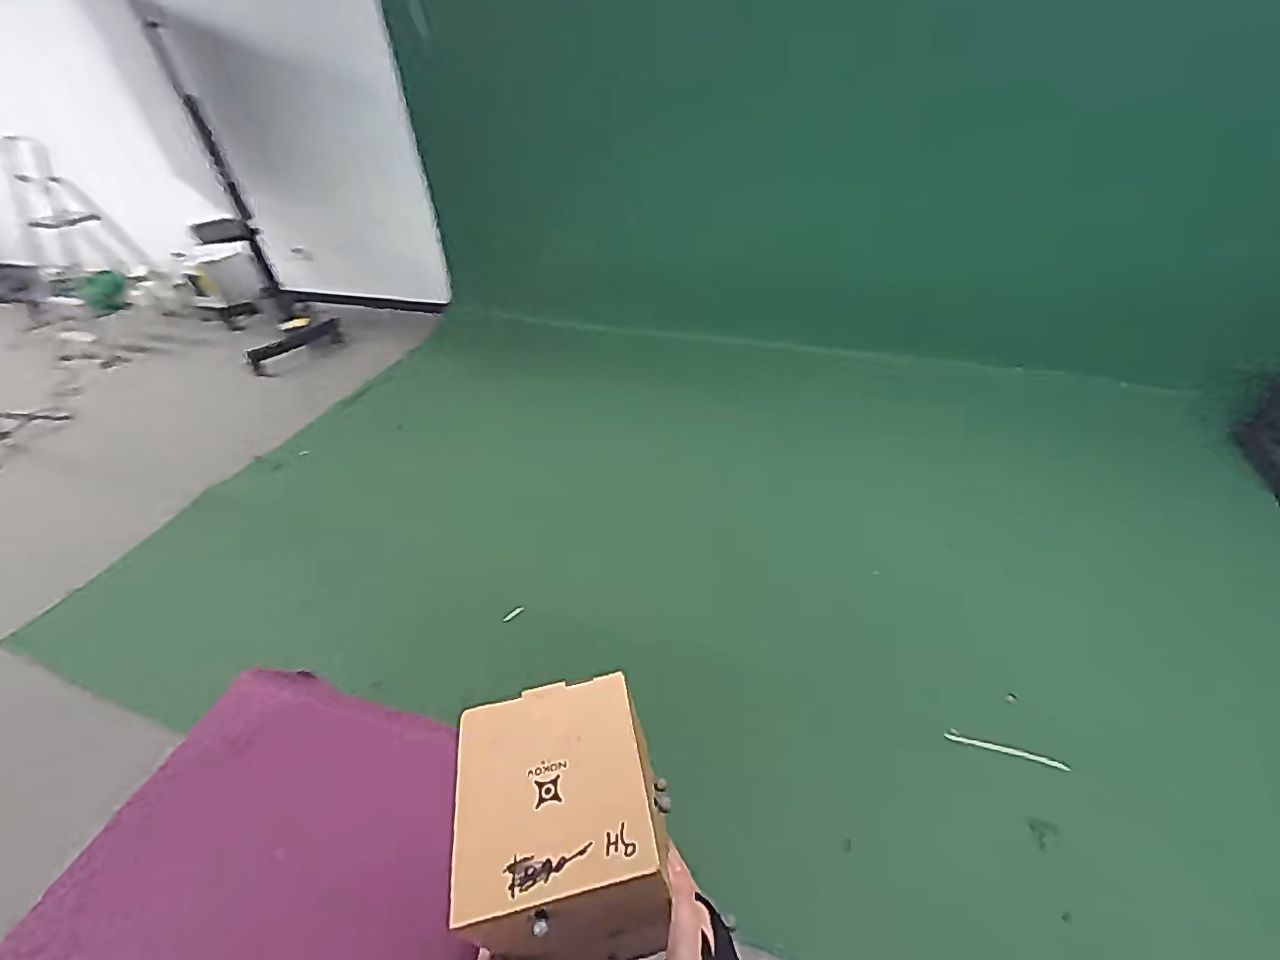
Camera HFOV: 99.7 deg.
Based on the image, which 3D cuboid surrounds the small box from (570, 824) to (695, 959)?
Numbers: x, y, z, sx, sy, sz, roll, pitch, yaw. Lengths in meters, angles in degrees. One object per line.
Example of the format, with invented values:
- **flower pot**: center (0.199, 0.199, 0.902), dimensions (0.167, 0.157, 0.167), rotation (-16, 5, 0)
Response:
- **small box**: center (-0.038, 0.446, 0.634), dimensions (0.168, 0.176, 0.179), rotation (-13, 40, -3)

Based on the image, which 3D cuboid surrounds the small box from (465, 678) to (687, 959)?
- **small box**: center (-0.055, 0.327, 0.523), dimensions (0.168, 0.176, 0.179), rotation (-12, 40, -3)
